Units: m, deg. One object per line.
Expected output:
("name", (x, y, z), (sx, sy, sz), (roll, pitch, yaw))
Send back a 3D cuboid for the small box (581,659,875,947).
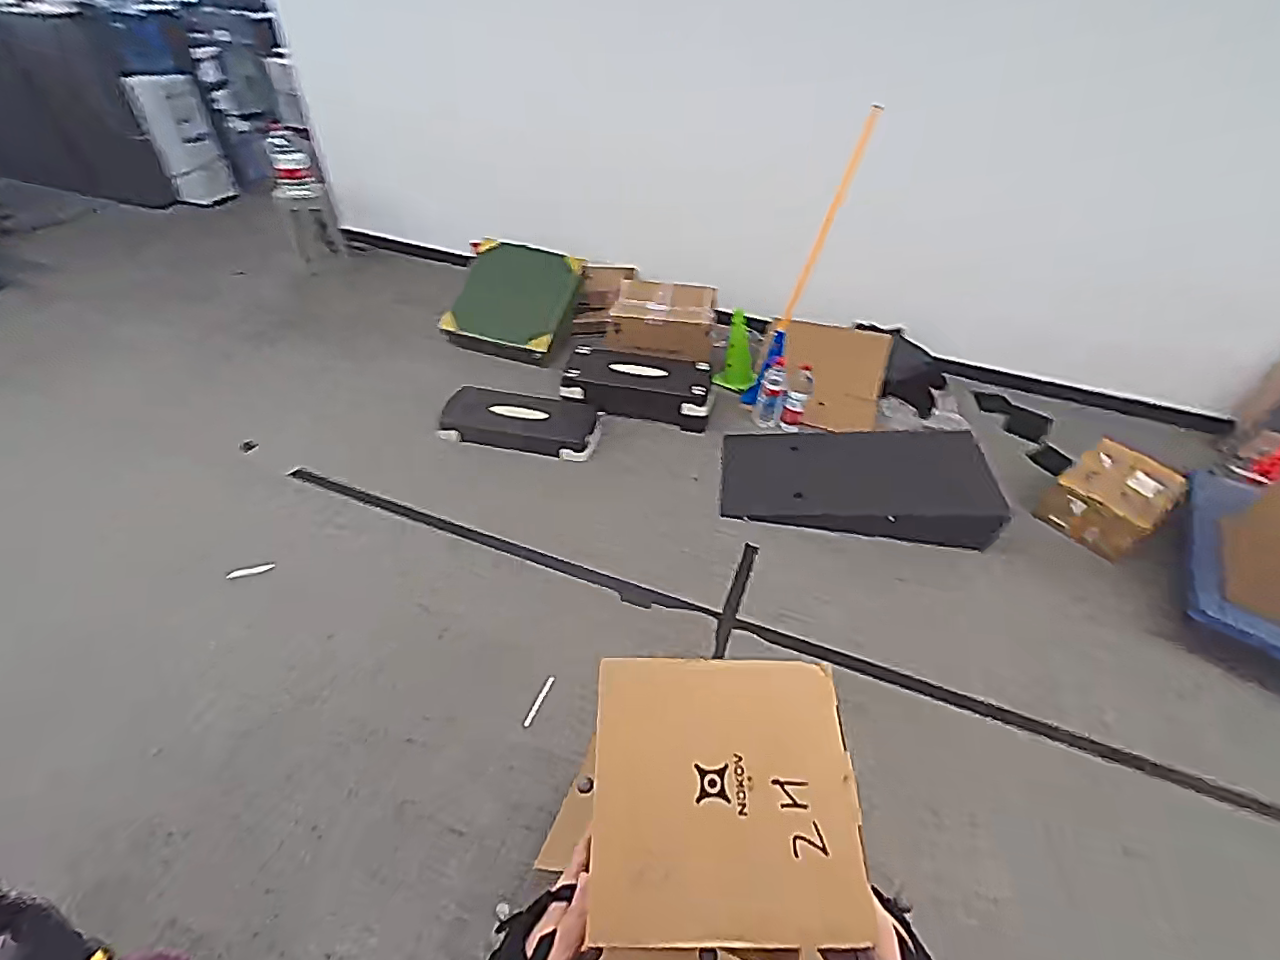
("small box", (0.050, 0.247, 0.424), (0.179, 0.176, 0.168), (1, 57, -2))
